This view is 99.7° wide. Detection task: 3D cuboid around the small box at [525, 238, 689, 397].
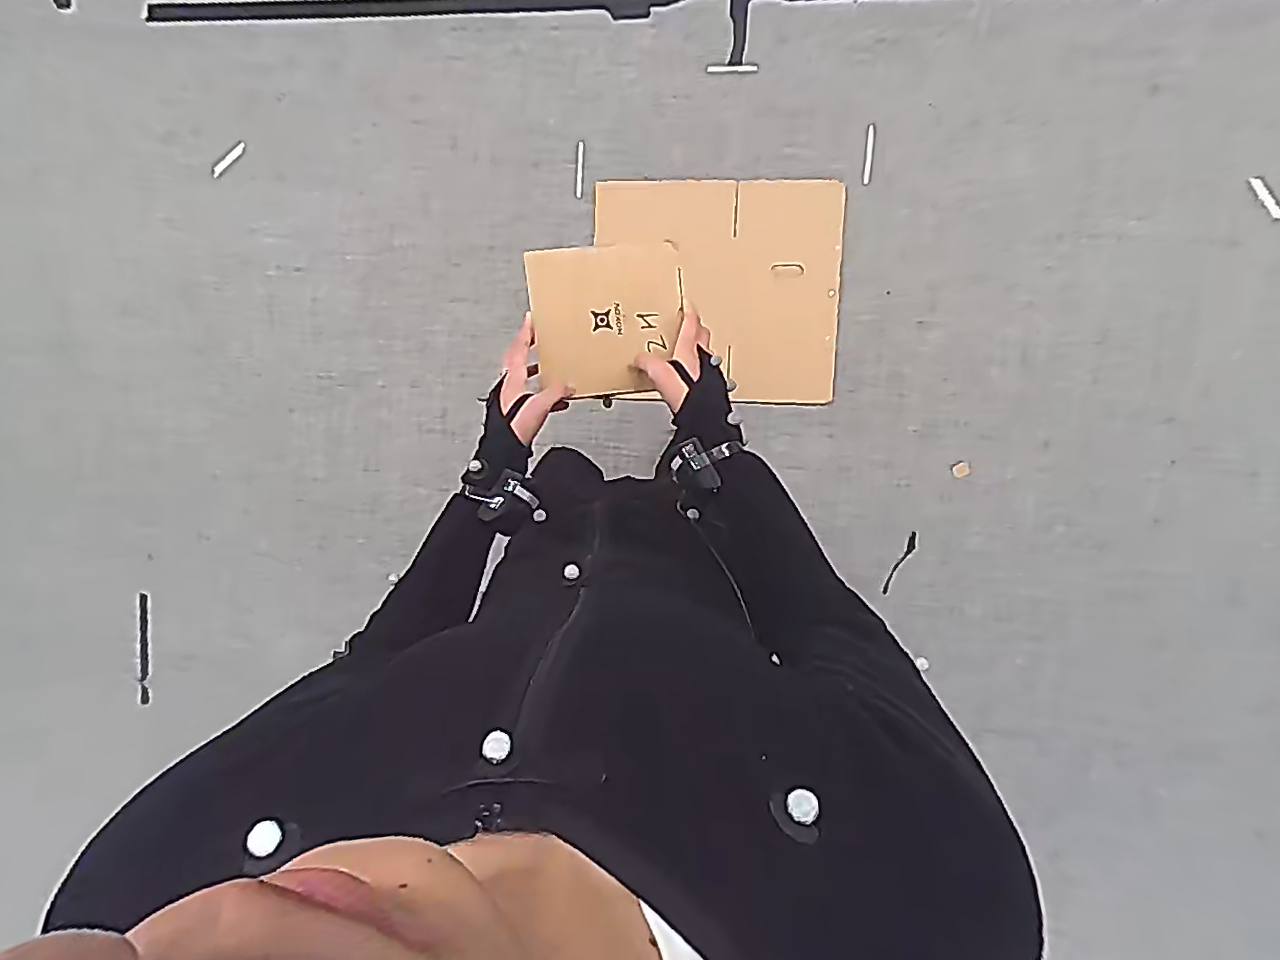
[{"bbox_3d":[-0.042,-0.195,0.691,0.179,0.176,0.168,-6,99,-5],"label":"small box"}]
